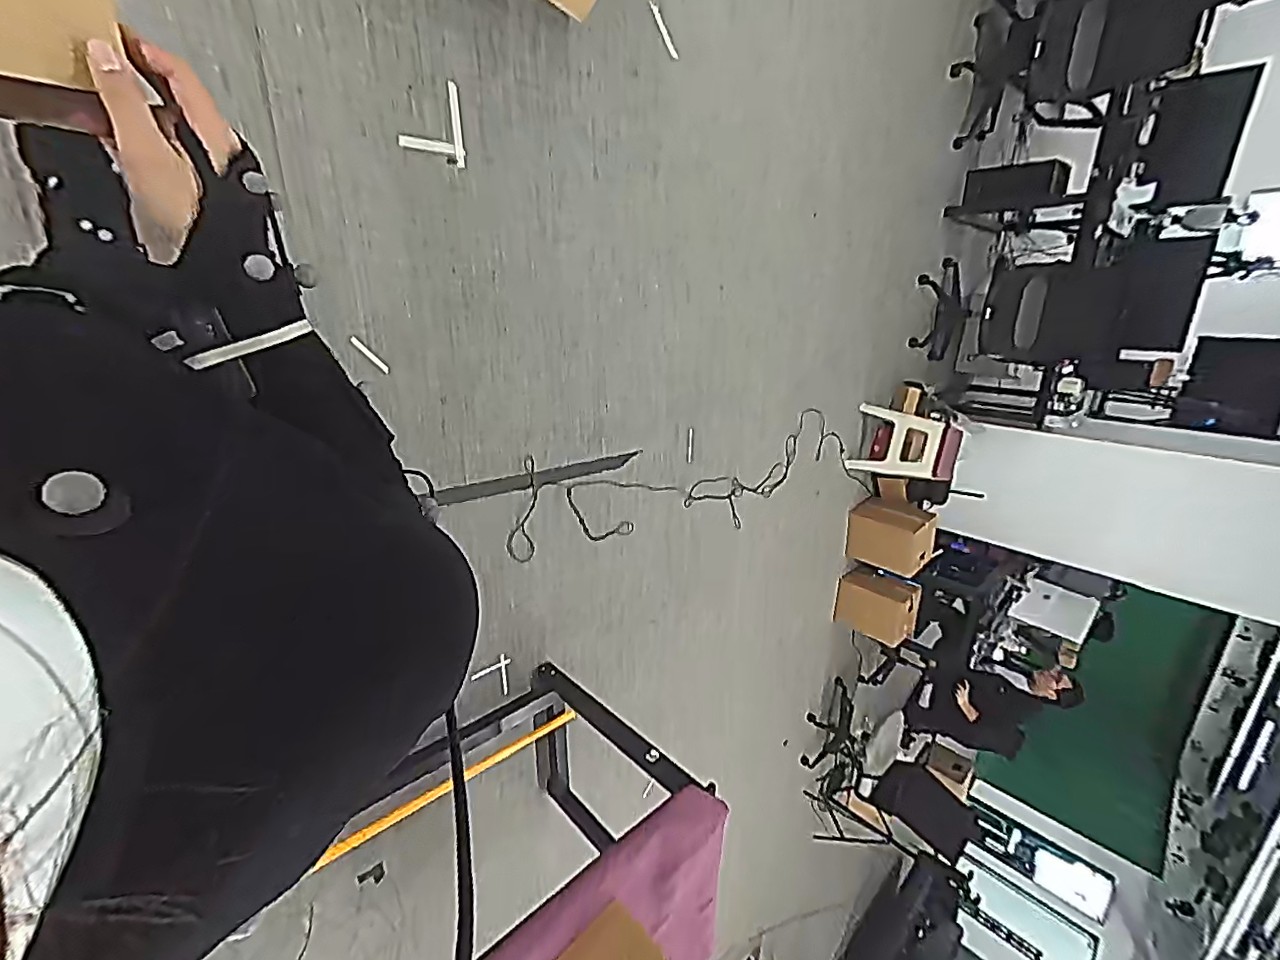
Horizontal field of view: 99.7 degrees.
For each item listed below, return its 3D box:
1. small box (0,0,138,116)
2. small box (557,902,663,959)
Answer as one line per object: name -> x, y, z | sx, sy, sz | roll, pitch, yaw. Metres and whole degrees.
small box -> -0.392, -0.298, 0.266 | 0.179, 0.176, 0.168 | -19, 122, -43
small box -> -0.067, 1.043, 1.114 | 0.179, 0.176, 0.168 | -22, 119, -39
